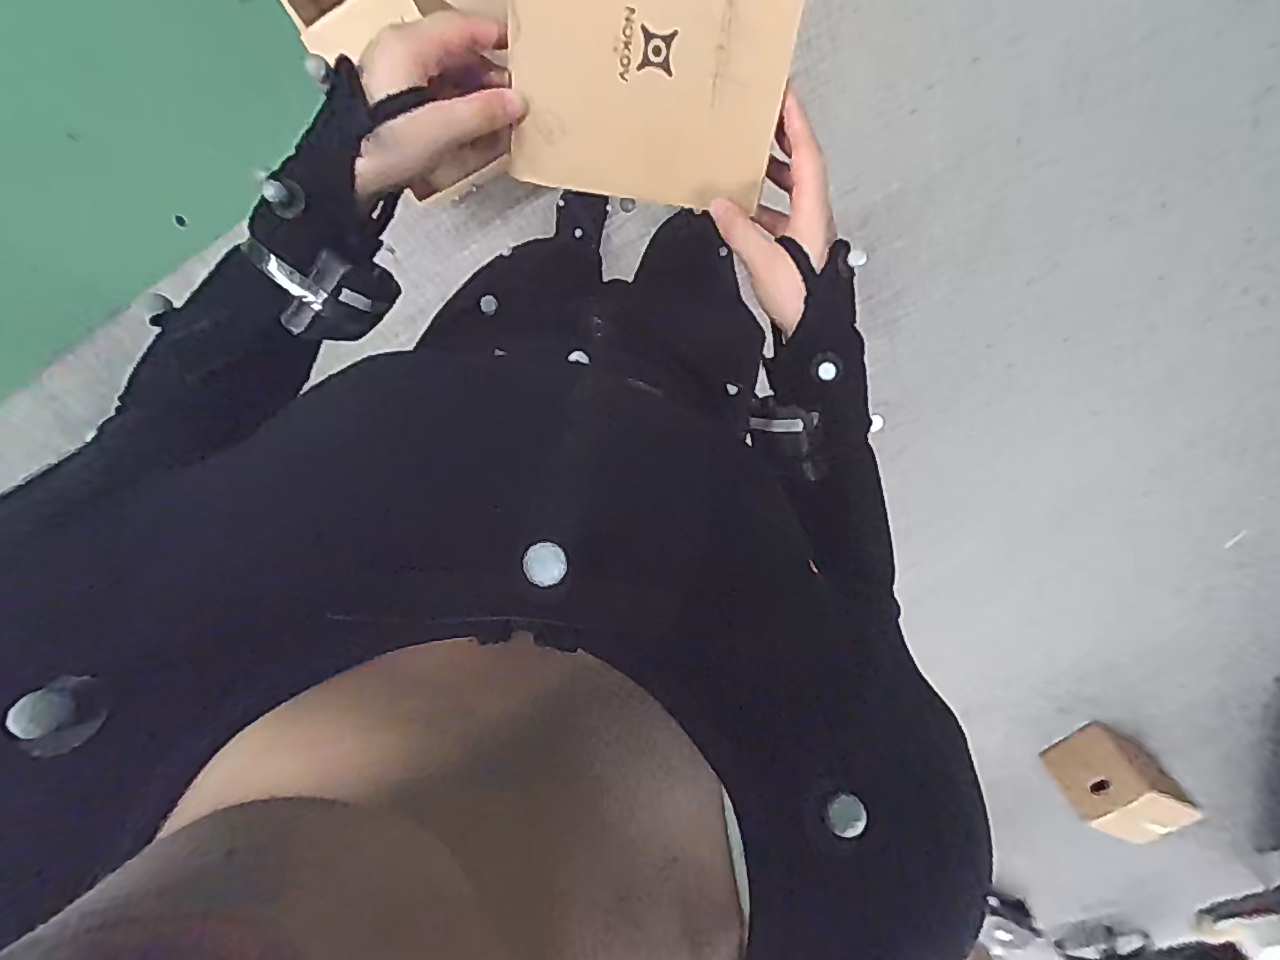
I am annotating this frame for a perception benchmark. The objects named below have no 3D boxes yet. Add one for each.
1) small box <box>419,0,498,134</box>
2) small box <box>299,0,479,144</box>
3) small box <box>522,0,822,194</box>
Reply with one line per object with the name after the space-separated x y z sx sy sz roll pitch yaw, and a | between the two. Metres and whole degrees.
-0.381 -0.750 0.979 0.179 0.176 0.168 -24 122 11 | small box
-0.371 -0.656 0.845 0.179 0.176 0.168 -22 122 12 | small box
0.017 -0.315 0.385 0.179 0.176 0.168 4 126 -5 | small box
